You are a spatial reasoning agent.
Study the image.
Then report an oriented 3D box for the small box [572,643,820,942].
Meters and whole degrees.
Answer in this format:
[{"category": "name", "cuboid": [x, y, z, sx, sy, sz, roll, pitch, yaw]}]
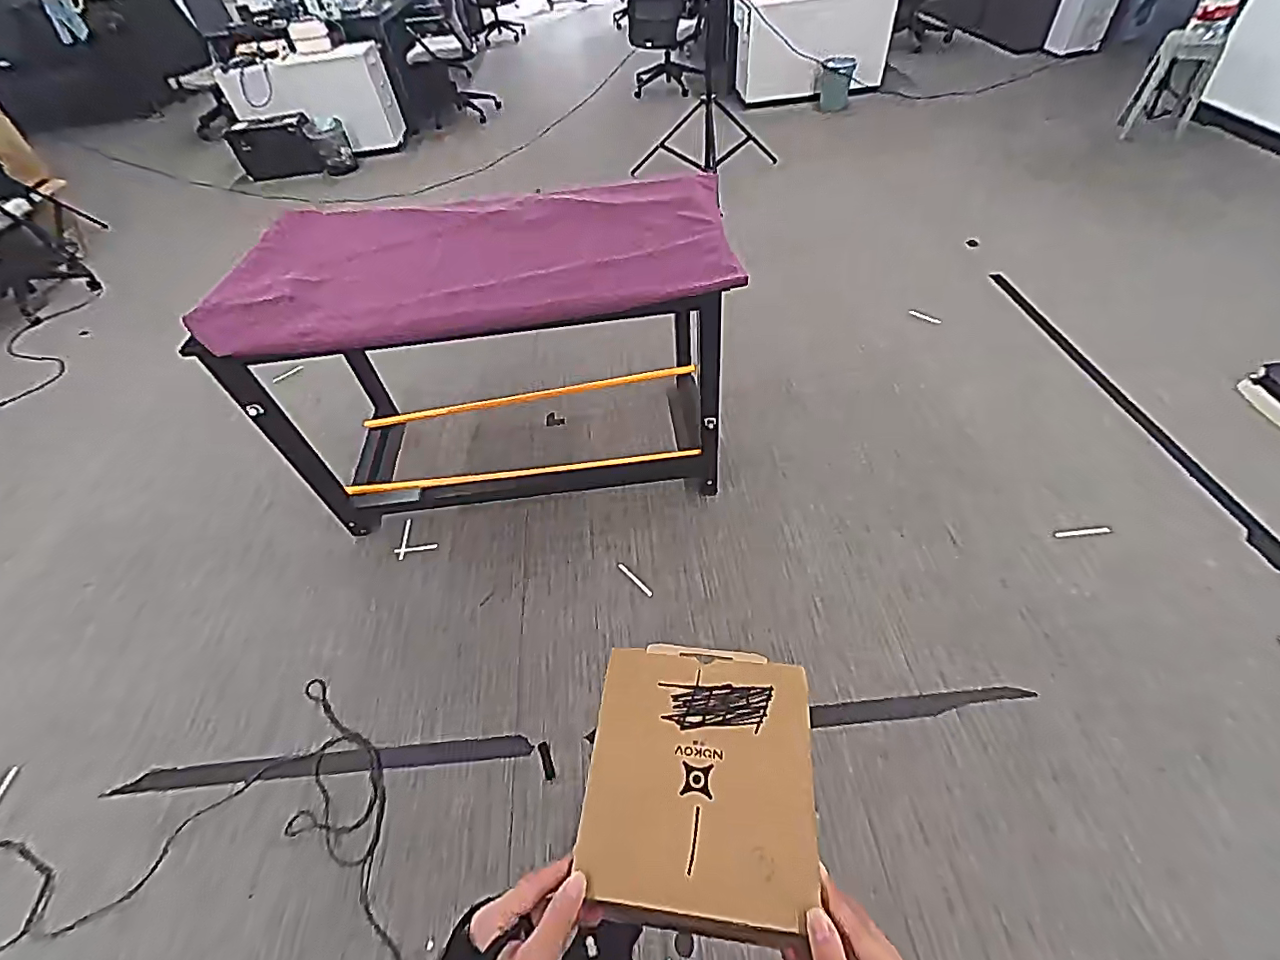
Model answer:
[{"category": "small box", "cuboid": [0.052, 0.266, 0.465, 0.168, 0.176, 0.179, 3, 47, 9]}]
